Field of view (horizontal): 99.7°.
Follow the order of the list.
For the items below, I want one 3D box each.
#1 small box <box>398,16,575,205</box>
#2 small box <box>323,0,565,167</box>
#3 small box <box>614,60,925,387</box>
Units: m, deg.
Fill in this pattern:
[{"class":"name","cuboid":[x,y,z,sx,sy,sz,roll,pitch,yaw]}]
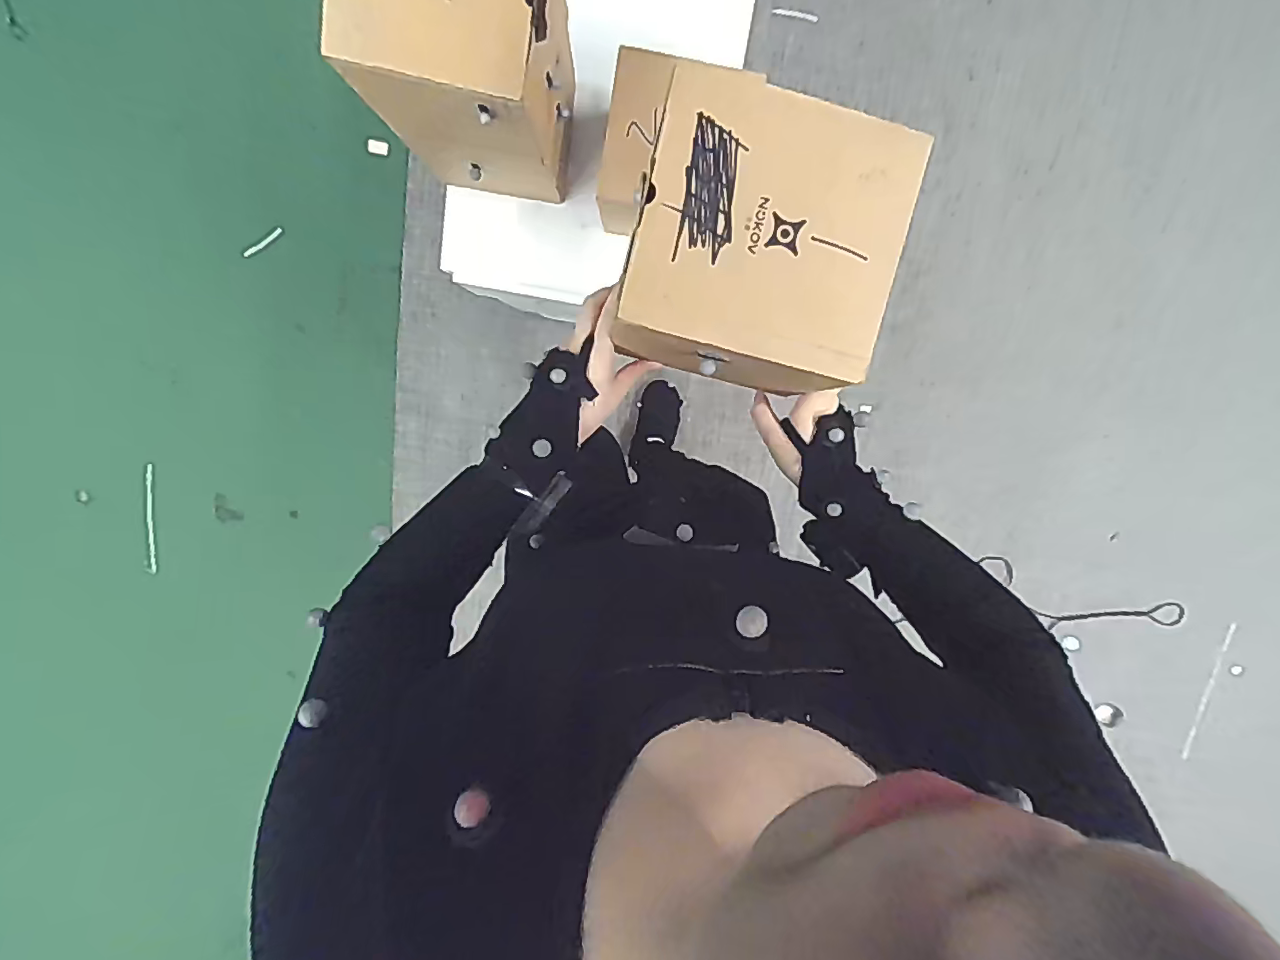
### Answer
[{"class":"small box","cuboid":[-0.185,-0.475,0.695,0.179,0.176,0.168,8,101,-4]},{"class":"small box","cuboid":[-0.177,-0.440,0.535,0.179,0.176,0.168,10,100,-7]},{"class":"small box","cuboid":[0.081,-0.176,0.435,0.179,0.176,0.168,14,95,-6]}]
